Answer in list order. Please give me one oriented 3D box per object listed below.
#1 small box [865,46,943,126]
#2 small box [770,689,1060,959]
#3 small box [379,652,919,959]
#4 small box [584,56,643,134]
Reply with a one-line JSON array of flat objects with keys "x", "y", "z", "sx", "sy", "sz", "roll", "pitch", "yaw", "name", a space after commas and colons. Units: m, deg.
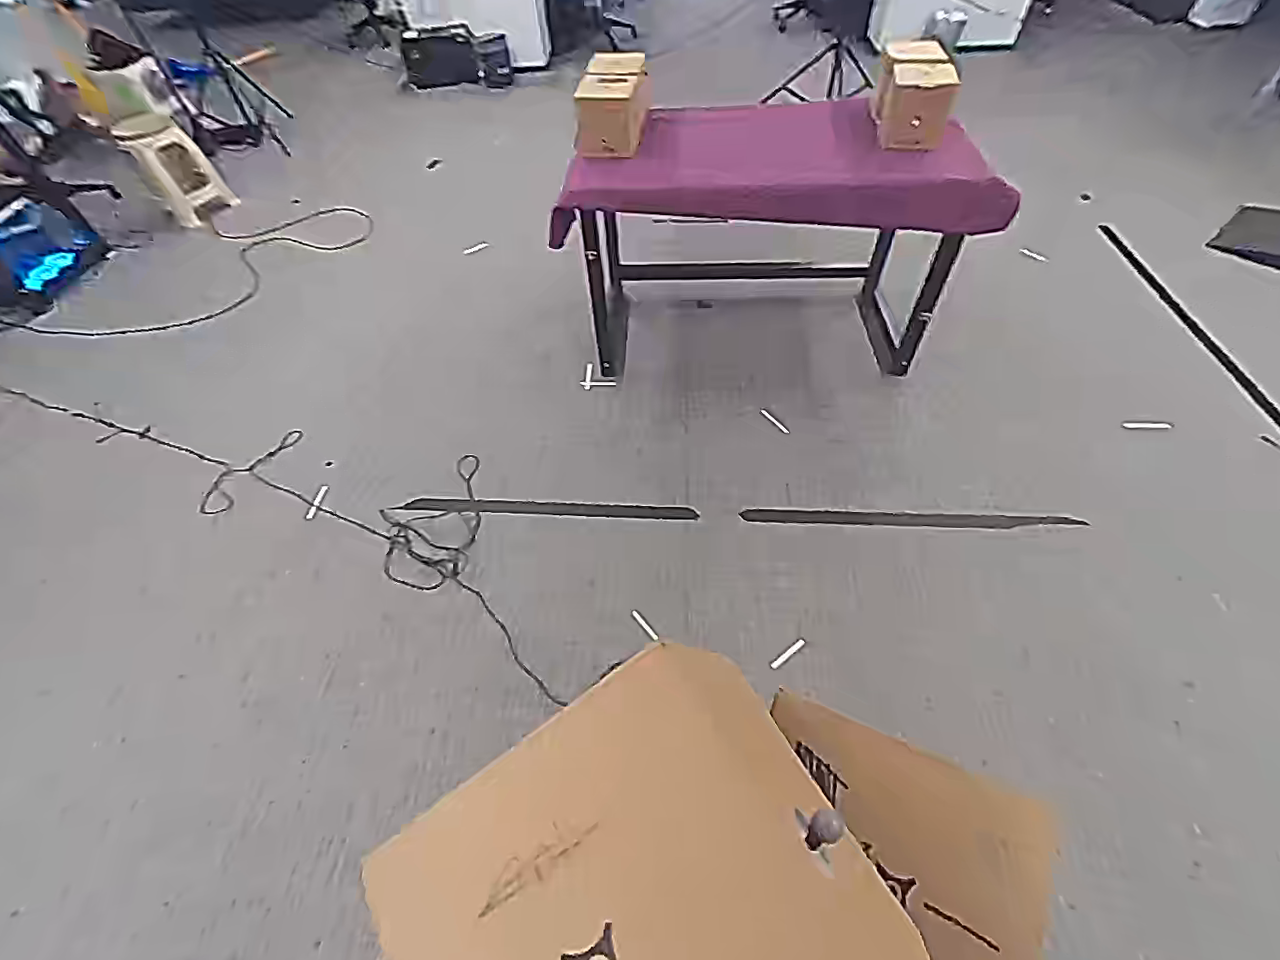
[{"x": 0.835, "y": -1.259, "z": 1.728, "sx": 0.168, "sy": 0.176, "sz": 0.179, "roll": 4, "pitch": 53, "yaw": 6, "name": "small box"}, {"x": 0.157, "y": 0.278, "z": 0.396, "sx": 0.179, "sy": 0.176, "sz": 0.168, "roll": 19, "pitch": 68, "yaw": 18, "name": "small box"}, {"x": 0.018, "y": 0.207, "z": 0.265, "sx": 0.168, "sy": 0.176, "sz": 0.179, "roll": -37, "pitch": 62, "yaw": 3, "name": "small box"}, {"x": -0.081, "y": -1.280, "z": 1.796, "sx": 0.168, "sy": 0.176, "sz": 0.179, "roll": 4, "pitch": 54, "yaw": 7, "name": "small box"}]
